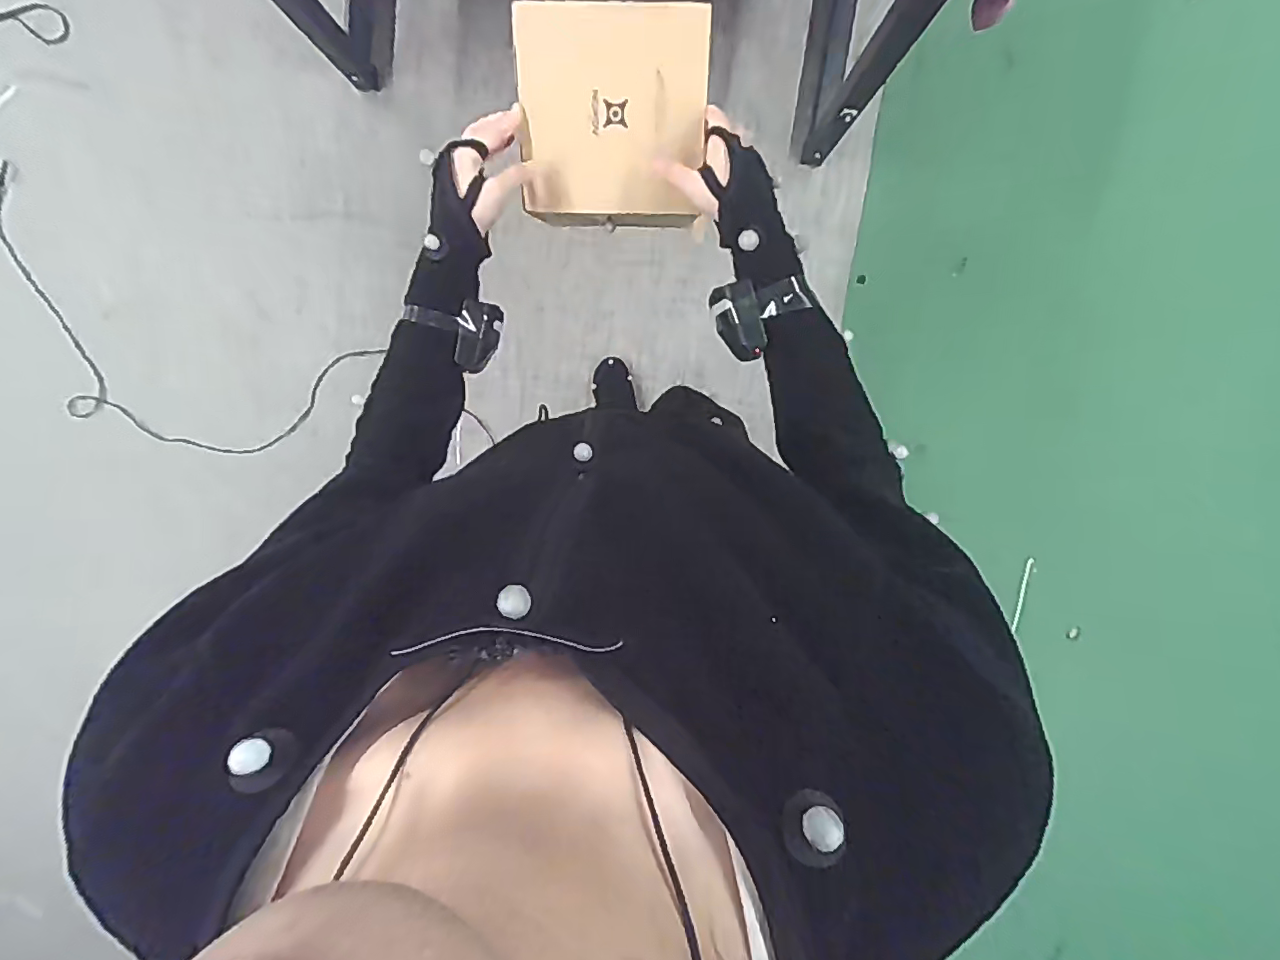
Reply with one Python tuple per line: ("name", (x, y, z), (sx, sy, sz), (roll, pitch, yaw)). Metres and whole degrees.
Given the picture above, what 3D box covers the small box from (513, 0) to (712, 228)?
("small box", (-0.025, -0.364, 0.570), (0.179, 0.176, 0.168), (2, 111, 0))
